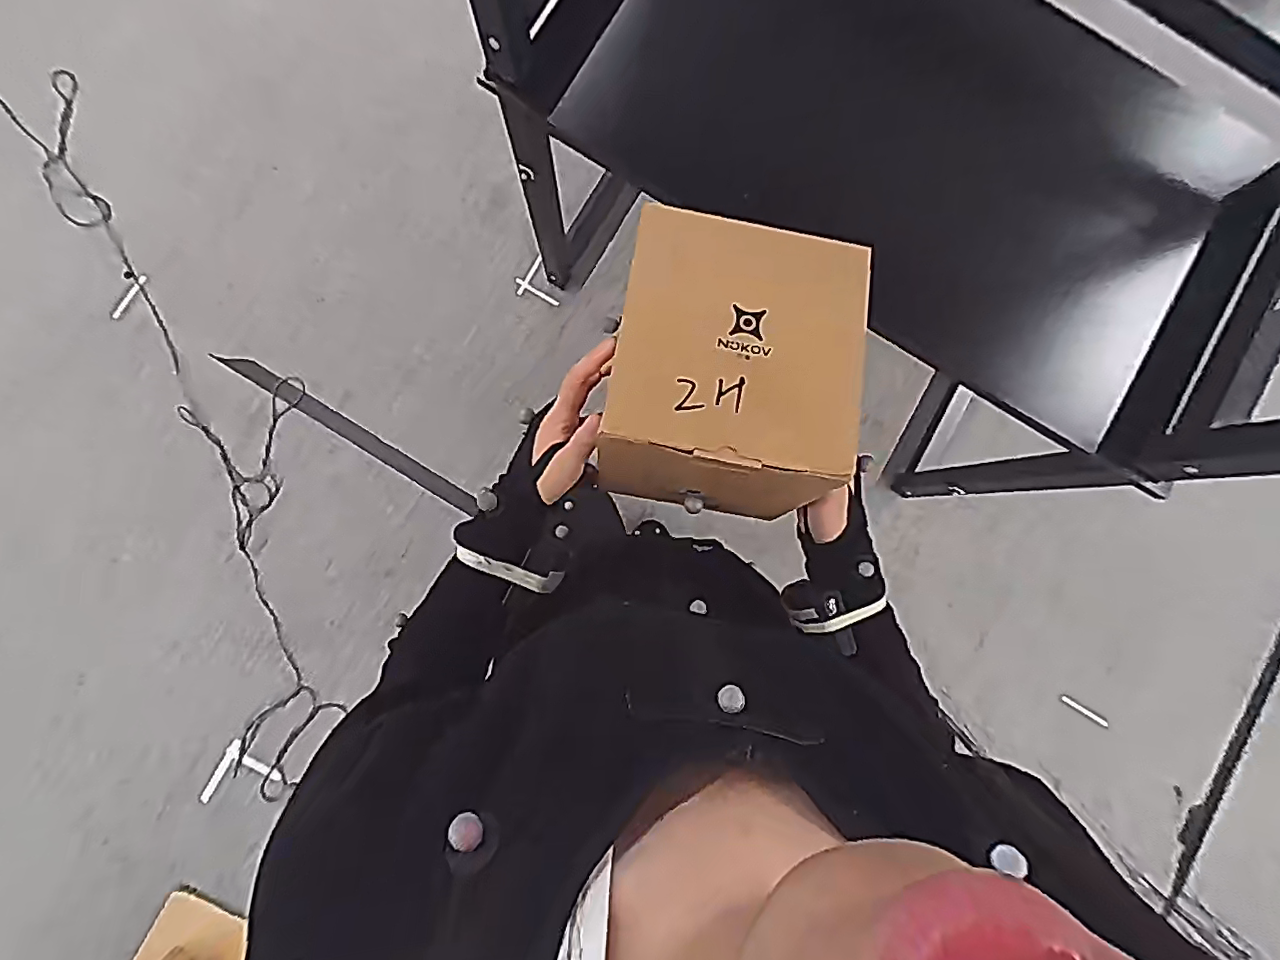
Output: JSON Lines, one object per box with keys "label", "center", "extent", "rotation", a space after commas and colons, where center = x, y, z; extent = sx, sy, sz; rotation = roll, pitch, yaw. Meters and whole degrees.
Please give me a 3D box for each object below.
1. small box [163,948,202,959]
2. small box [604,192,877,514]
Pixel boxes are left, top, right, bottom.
{"label": "small box", "center": [-1.124, 1.272, 1.272], "extent": [0.168, 0.176, 0.179], "rotation": [25, 86, -2]}
{"label": "small box", "center": [0.065, -0.082, 0.430], "extent": [0.168, 0.176, 0.179], "rotation": [10, 77, -2]}
